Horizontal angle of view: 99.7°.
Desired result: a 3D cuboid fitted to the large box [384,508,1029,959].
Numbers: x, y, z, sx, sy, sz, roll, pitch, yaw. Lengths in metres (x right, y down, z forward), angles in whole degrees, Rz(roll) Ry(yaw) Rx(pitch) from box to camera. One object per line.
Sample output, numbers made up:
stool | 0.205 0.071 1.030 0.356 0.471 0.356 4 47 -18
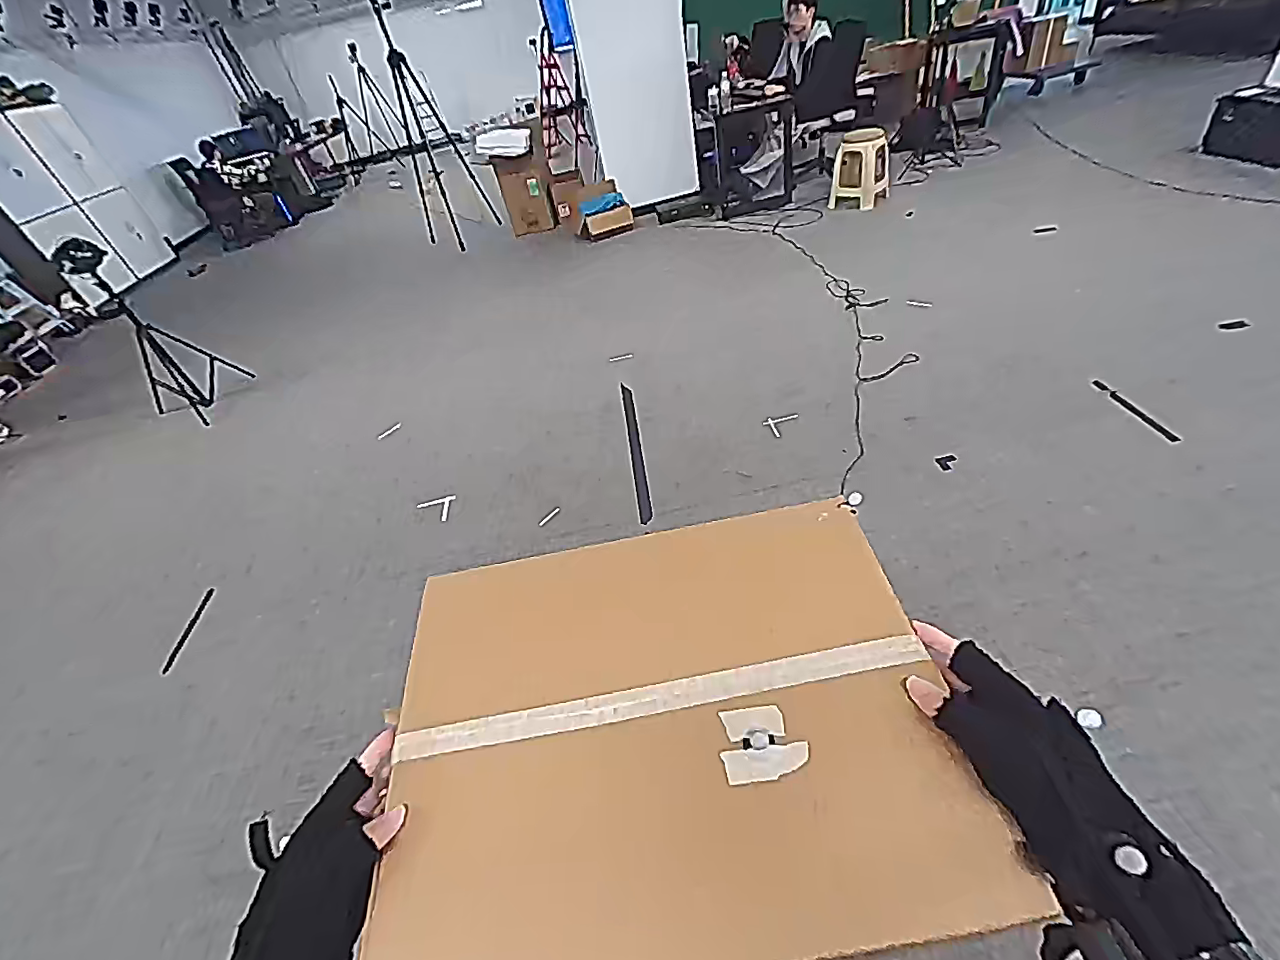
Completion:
large box | 0.038 0.274 0.527 0.408 0.320 0.320 -11 47 1
